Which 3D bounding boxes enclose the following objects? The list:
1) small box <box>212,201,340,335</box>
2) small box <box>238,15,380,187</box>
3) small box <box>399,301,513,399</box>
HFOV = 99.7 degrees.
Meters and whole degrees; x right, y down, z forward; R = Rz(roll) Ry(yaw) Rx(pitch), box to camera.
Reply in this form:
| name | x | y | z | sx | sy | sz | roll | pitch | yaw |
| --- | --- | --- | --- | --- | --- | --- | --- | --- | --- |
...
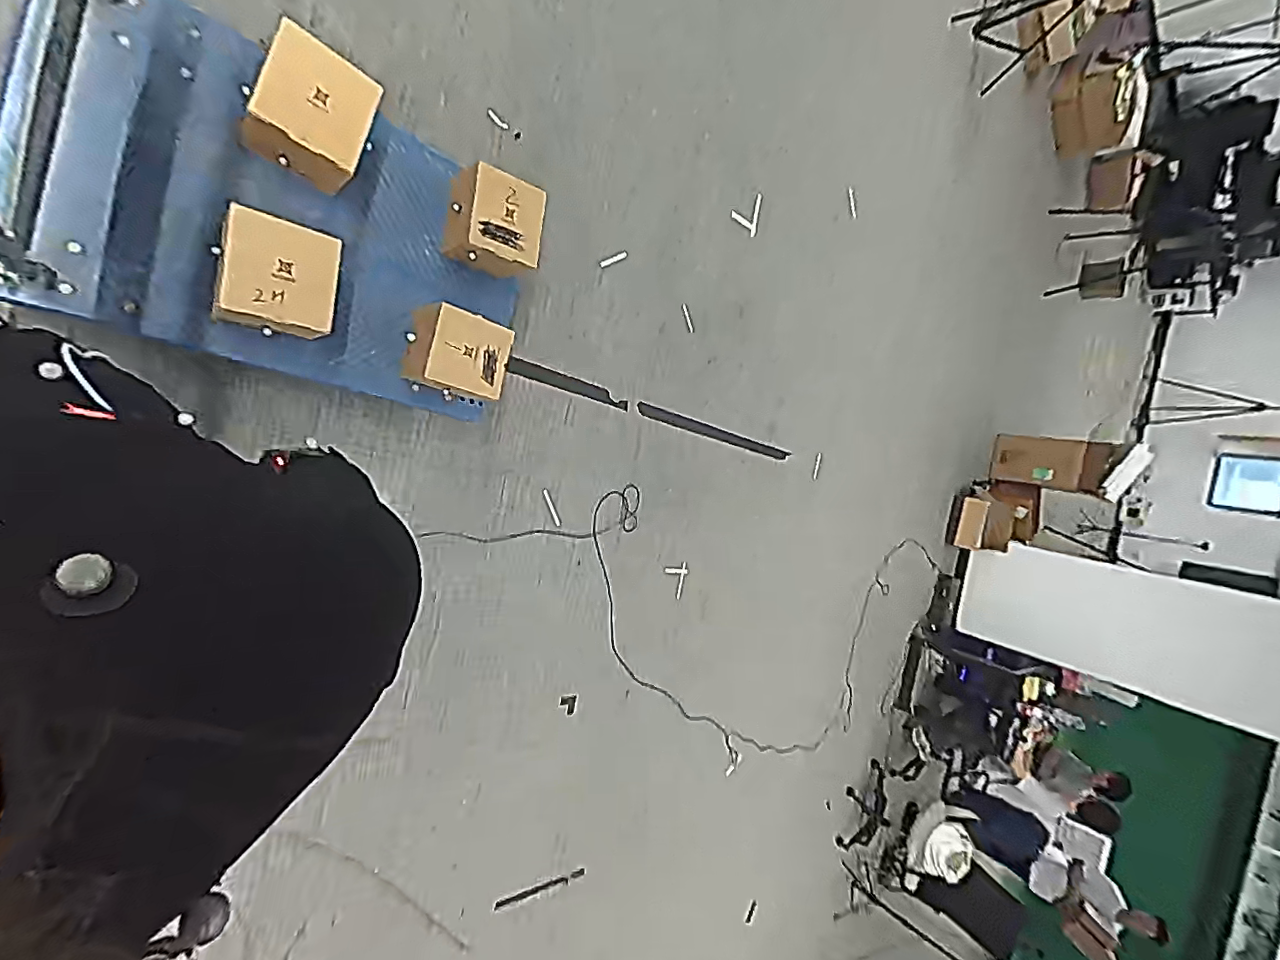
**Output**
| name | x | y | z | sx | sy | sz | roll | pitch | yaw |
| --- | --- | --- | --- | --- | --- | --- | --- | --- | --- |
| small box | -0.676 | -0.377 | 0.999 | 0.168 | 0.176 | 0.179 | 6 | 94 | -42 |
| small box | -0.613 | -0.680 | 0.995 | 0.168 | 0.176 | 0.179 | 21 | 87 | -43 |
| small box | -0.425 | -0.294 | 1.240 | 0.179 | 0.176 | 0.168 | 15 | 89 | -41 |
